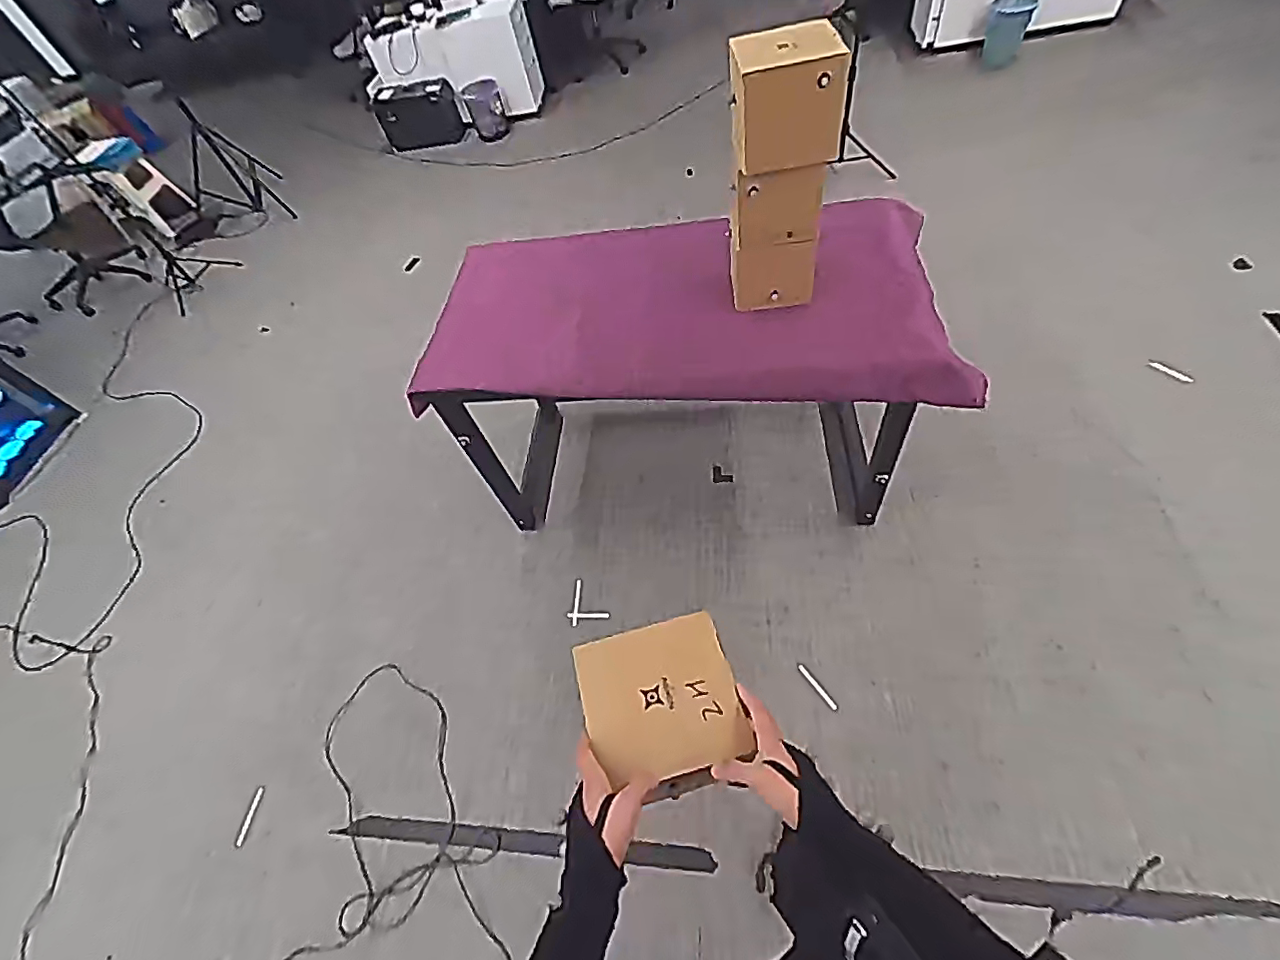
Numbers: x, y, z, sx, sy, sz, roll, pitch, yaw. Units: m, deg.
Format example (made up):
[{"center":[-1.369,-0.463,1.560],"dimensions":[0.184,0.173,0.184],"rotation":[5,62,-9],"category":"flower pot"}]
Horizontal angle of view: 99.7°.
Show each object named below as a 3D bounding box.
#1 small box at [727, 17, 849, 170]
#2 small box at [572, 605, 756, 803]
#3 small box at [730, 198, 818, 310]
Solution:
[{"center":[0.257,-0.686,0.971],"dimensions":[0.179,0.176,0.168],"rotation":[-7,54,6],"category":"small box"},{"center":[0.027,0.281,0.667],"dimensions":[0.179,0.176,0.168],"rotation":[-14,55,-5],"category":"small box"},{"center":[0.301,-0.516,1.249],"dimensions":[0.179,0.176,0.168],"rotation":[-4,55,8],"category":"small box"}]
